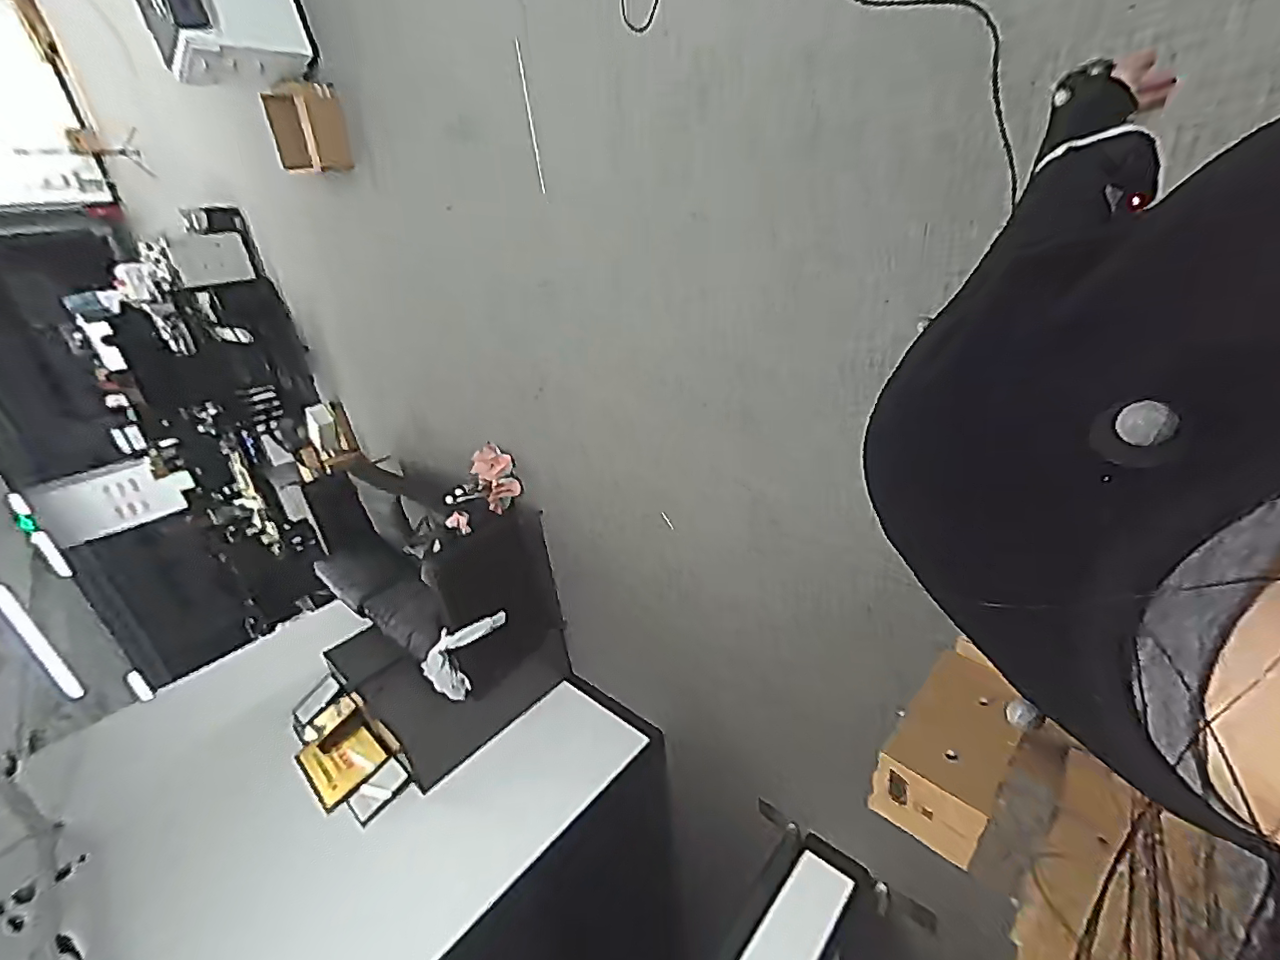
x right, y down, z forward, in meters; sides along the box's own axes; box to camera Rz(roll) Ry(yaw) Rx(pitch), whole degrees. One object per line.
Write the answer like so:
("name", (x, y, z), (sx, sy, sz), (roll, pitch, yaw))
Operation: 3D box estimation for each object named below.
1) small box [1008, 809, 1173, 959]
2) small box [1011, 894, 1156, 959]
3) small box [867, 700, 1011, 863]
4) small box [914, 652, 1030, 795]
("small box", (0.750, 0.707, 0.901), (0.168, 0.176, 0.179), (22, 127, 36))
("small box", (0.650, 0.769, 0.787), (0.179, 0.176, 0.168), (17, 124, 40))
("small box", (0.556, 0.547, 1.012), (0.179, 0.176, 0.168), (21, 126, 39))
("small box", (0.672, 0.487, 1.112), (0.179, 0.176, 0.168), (20, 124, 39))
